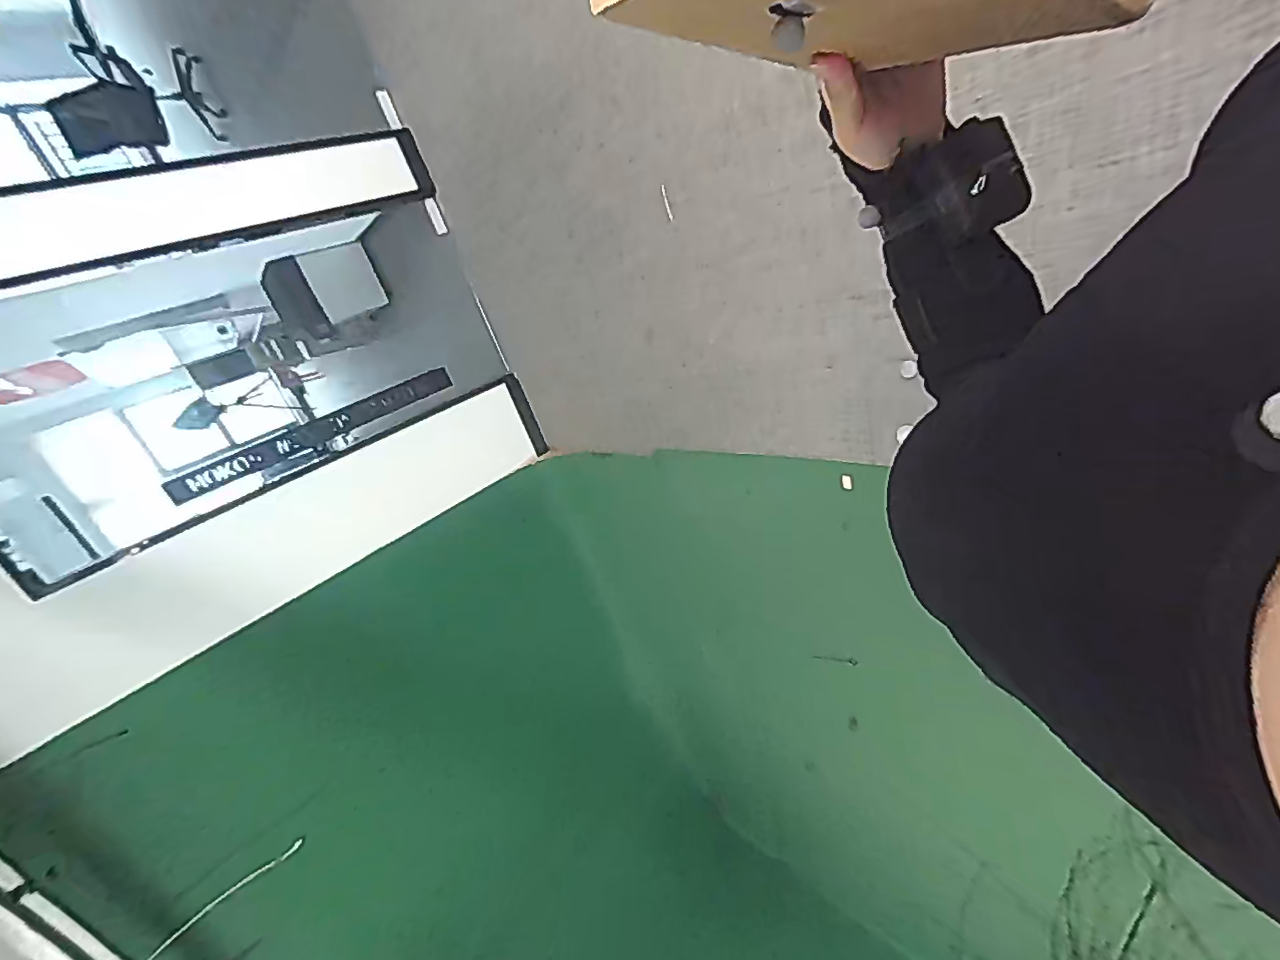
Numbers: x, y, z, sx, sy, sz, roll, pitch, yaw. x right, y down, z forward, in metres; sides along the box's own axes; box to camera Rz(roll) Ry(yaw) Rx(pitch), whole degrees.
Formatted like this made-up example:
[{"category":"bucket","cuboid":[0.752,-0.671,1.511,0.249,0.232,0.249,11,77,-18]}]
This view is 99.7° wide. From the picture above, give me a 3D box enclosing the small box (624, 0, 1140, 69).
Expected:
[{"category":"small box","cuboid":[0.110,-0.284,0.212,0.179,0.176,0.168,42,136,50]}]
